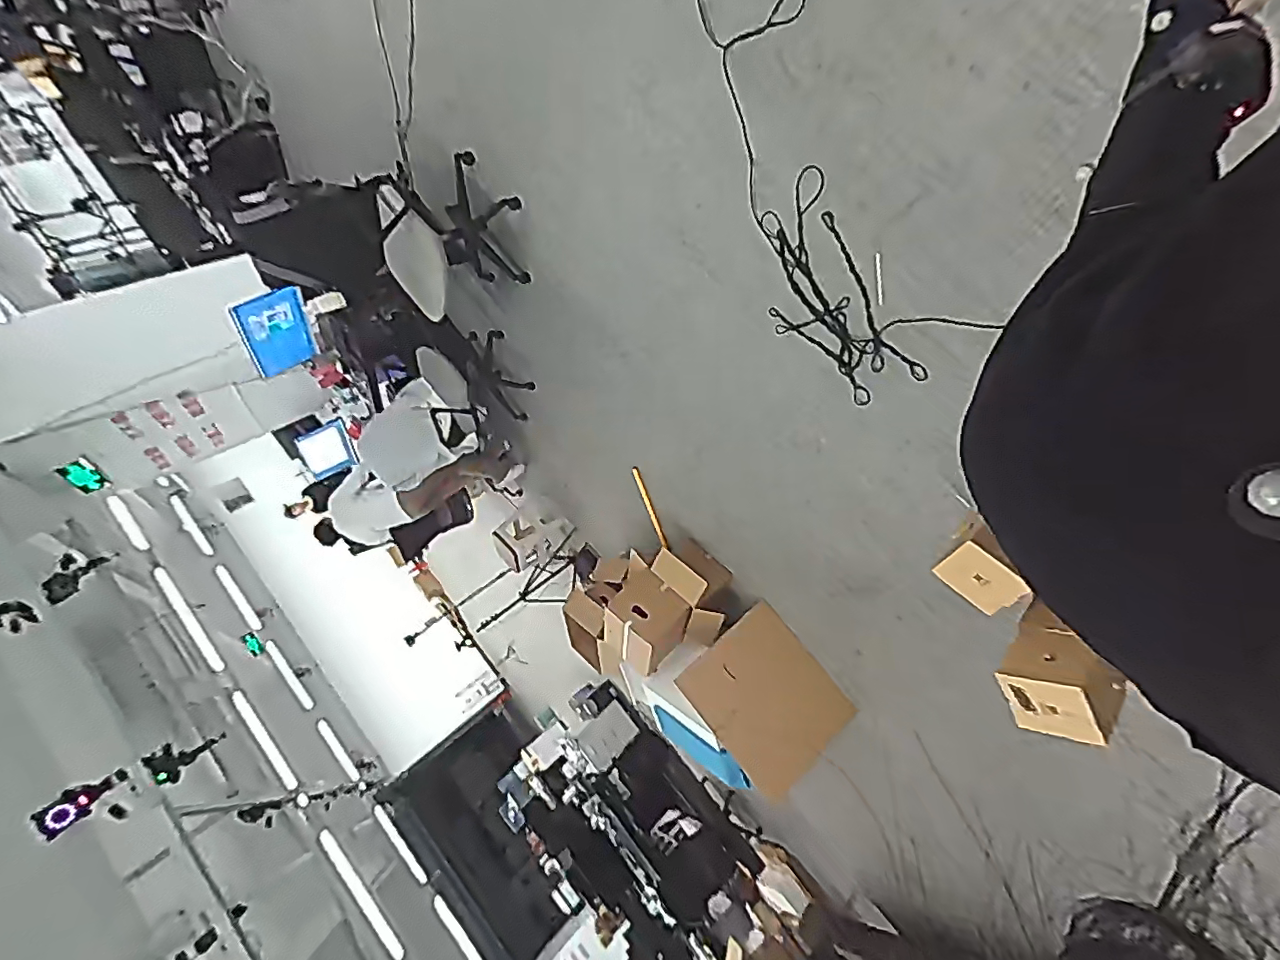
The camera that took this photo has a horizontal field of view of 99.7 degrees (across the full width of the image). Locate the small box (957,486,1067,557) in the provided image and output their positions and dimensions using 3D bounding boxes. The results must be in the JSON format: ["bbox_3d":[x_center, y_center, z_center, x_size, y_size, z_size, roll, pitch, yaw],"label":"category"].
[{"bbox_3d":[1.032,0.148,1.494,0.168,0.176,0.179,46,149,17],"label":"small box"}]

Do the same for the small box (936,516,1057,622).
[{"bbox_3d":[0.924,0.226,1.400,0.179,0.176,0.168,43,147,20],"label":"small box"}]

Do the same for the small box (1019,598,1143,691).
[{"bbox_3d":[1.097,0.414,1.341,0.179,0.176,0.168,59,150,-4],"label":"small box"}]

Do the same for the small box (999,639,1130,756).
[{"bbox_3d":[0.982,0.491,1.252,0.179,0.176,0.168,-15,106,58],"label":"small box"}]
